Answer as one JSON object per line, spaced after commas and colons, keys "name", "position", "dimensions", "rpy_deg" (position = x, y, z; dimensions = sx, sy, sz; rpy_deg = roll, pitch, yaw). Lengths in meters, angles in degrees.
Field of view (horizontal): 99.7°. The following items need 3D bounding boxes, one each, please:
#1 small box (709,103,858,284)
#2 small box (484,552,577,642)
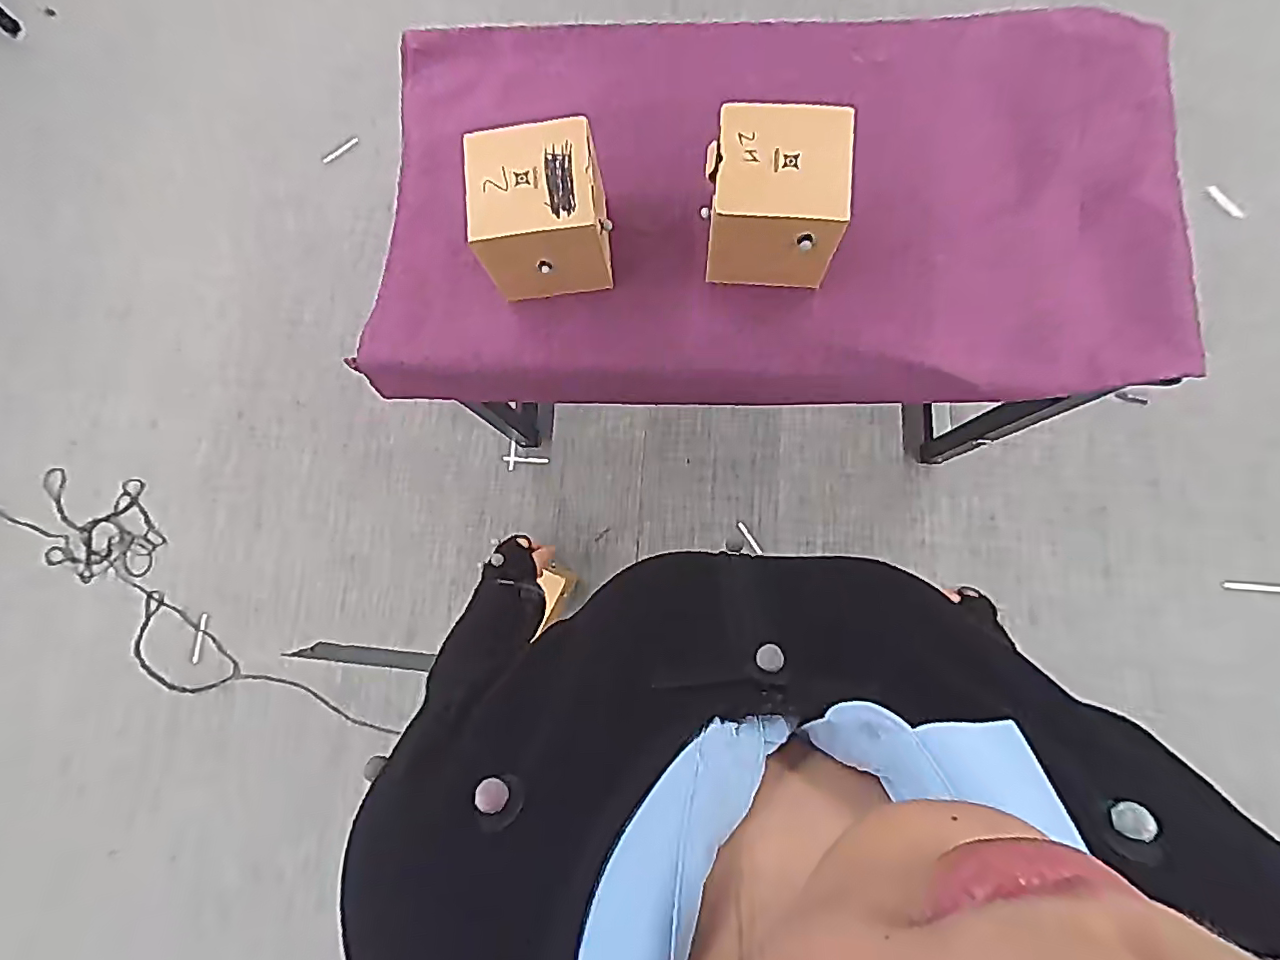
{"name": "small box", "position": [0.196, -0.400, 0.778], "dimensions": [0.179, 0.176, 0.168], "rpy_deg": [5, 81, 6]}
{"name": "small box", "position": [-0.283, 0.308, 1.449], "dimensions": [0.168, 0.176, 0.179], "rpy_deg": [25, 84, 7]}
